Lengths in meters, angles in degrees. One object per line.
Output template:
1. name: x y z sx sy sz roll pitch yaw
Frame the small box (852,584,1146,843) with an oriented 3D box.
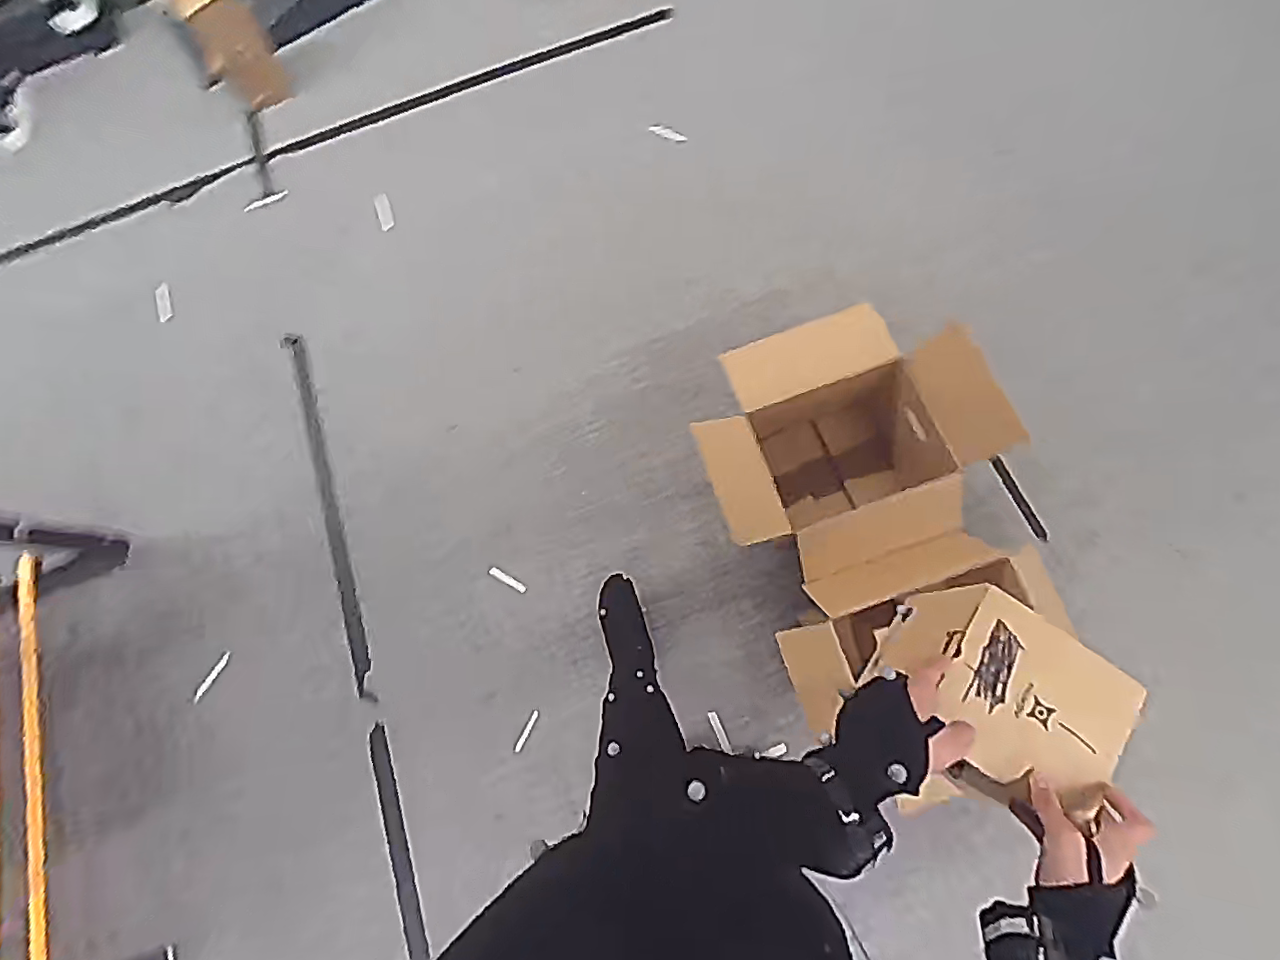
1. small box: 0.368 0.237 0.588 0.179 0.176 0.168 36 76 7
